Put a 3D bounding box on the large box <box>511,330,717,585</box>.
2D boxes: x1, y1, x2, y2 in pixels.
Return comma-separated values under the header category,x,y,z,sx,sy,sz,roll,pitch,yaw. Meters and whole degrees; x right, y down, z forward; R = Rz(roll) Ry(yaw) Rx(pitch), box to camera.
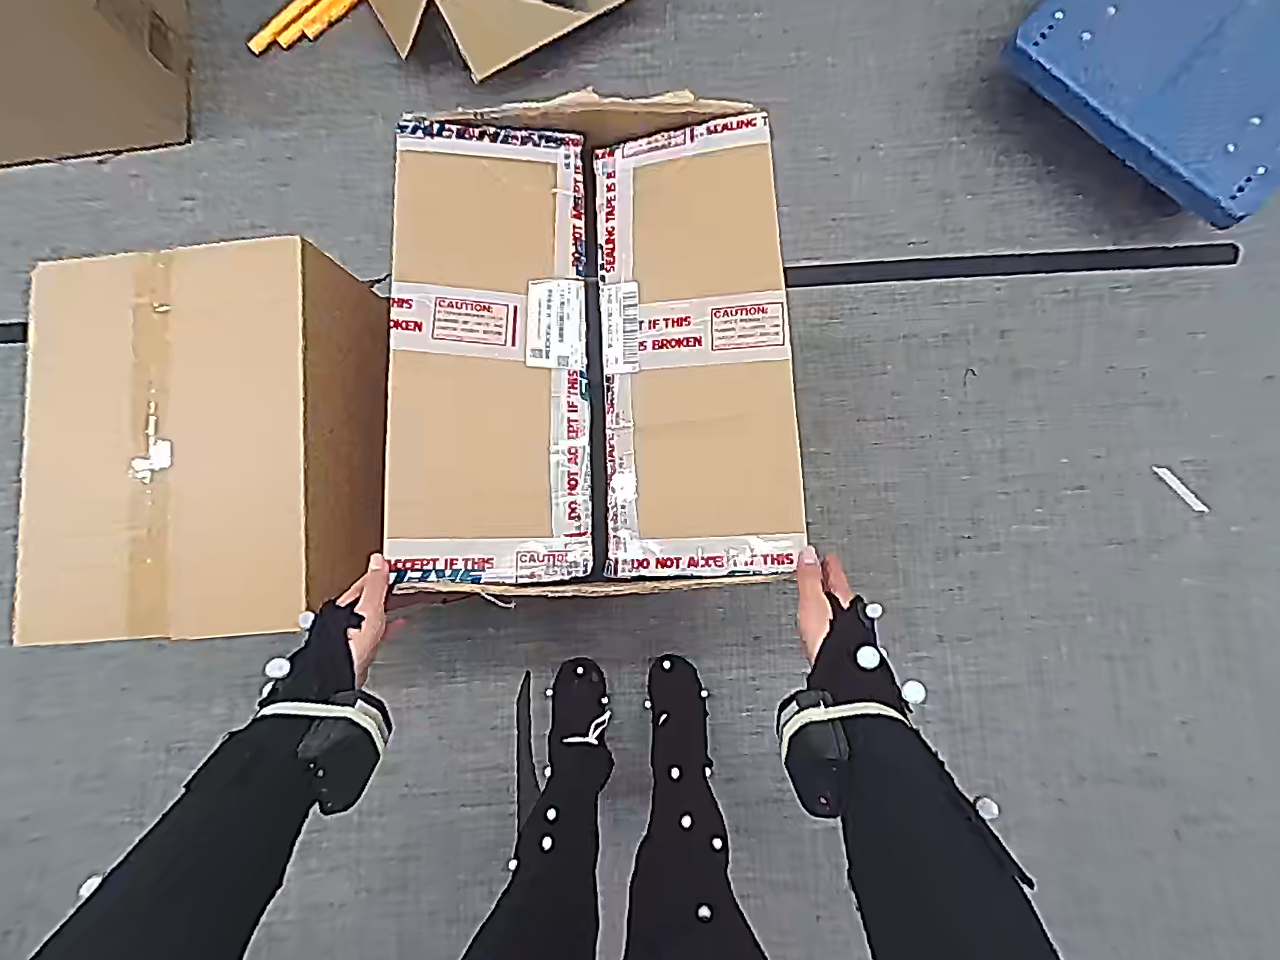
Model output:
category,x,y,z,sx,sy,sz,roll,pitch,yaw
large box,-0.047,-0.027,1.022,0.320,0.320,0.408,-4,83,0
